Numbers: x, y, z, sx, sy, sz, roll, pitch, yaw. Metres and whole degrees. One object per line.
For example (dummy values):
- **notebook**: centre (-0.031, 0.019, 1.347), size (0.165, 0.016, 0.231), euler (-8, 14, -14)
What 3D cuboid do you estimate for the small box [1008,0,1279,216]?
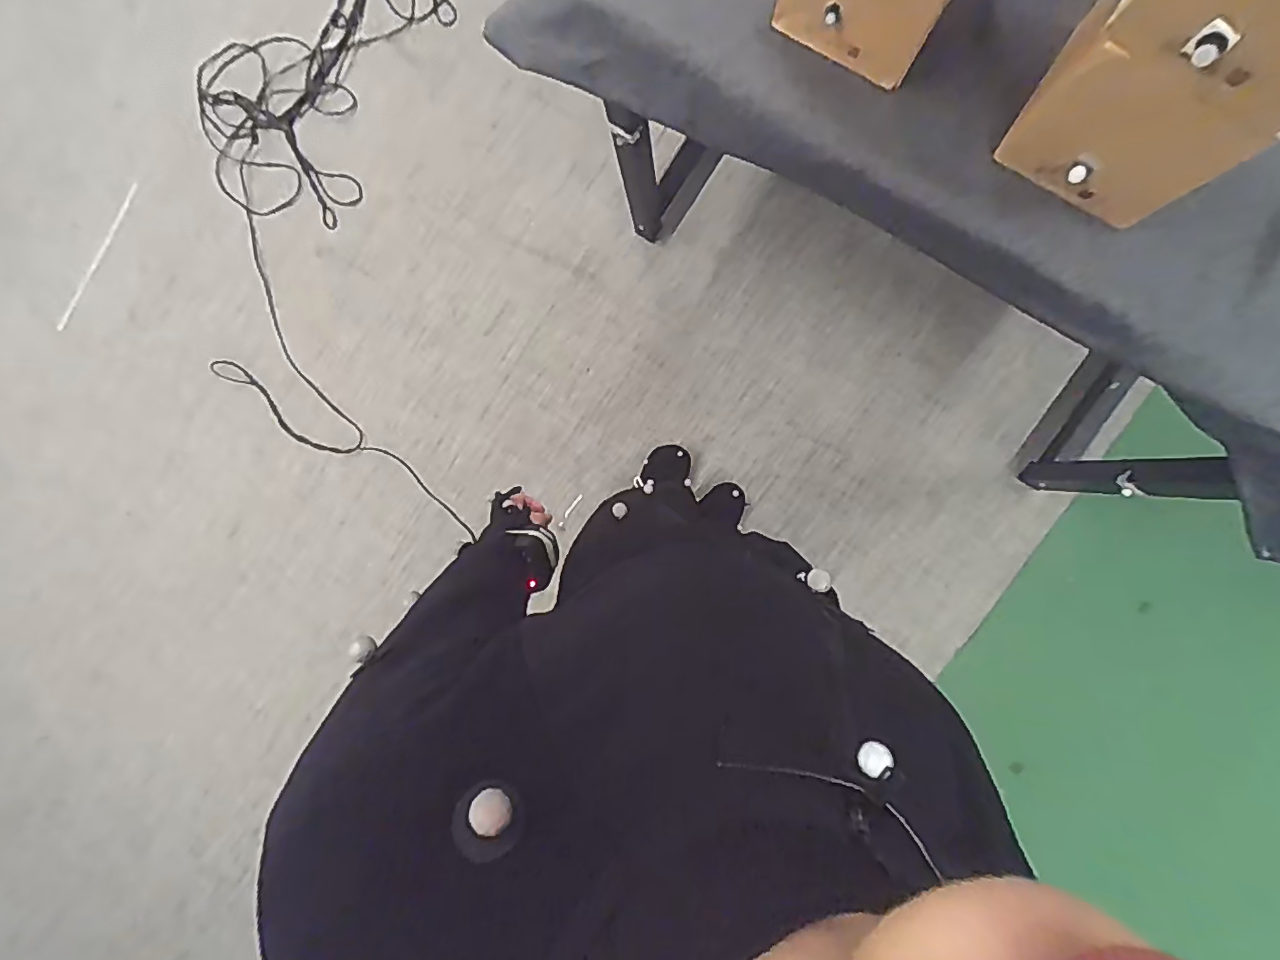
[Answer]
- **small box**: centre (0.504, -0.397, 0.513), size (0.168, 0.176, 0.179), euler (32, 94, 4)

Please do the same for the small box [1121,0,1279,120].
- **small box**: centre (0.485, -0.395, 0.352), size (0.168, 0.176, 0.179), euler (34, 94, 5)

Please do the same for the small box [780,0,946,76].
- **small box**: centre (0.257, -0.566, 0.534), size (0.168, 0.176, 0.179), euler (31, 94, 4)
